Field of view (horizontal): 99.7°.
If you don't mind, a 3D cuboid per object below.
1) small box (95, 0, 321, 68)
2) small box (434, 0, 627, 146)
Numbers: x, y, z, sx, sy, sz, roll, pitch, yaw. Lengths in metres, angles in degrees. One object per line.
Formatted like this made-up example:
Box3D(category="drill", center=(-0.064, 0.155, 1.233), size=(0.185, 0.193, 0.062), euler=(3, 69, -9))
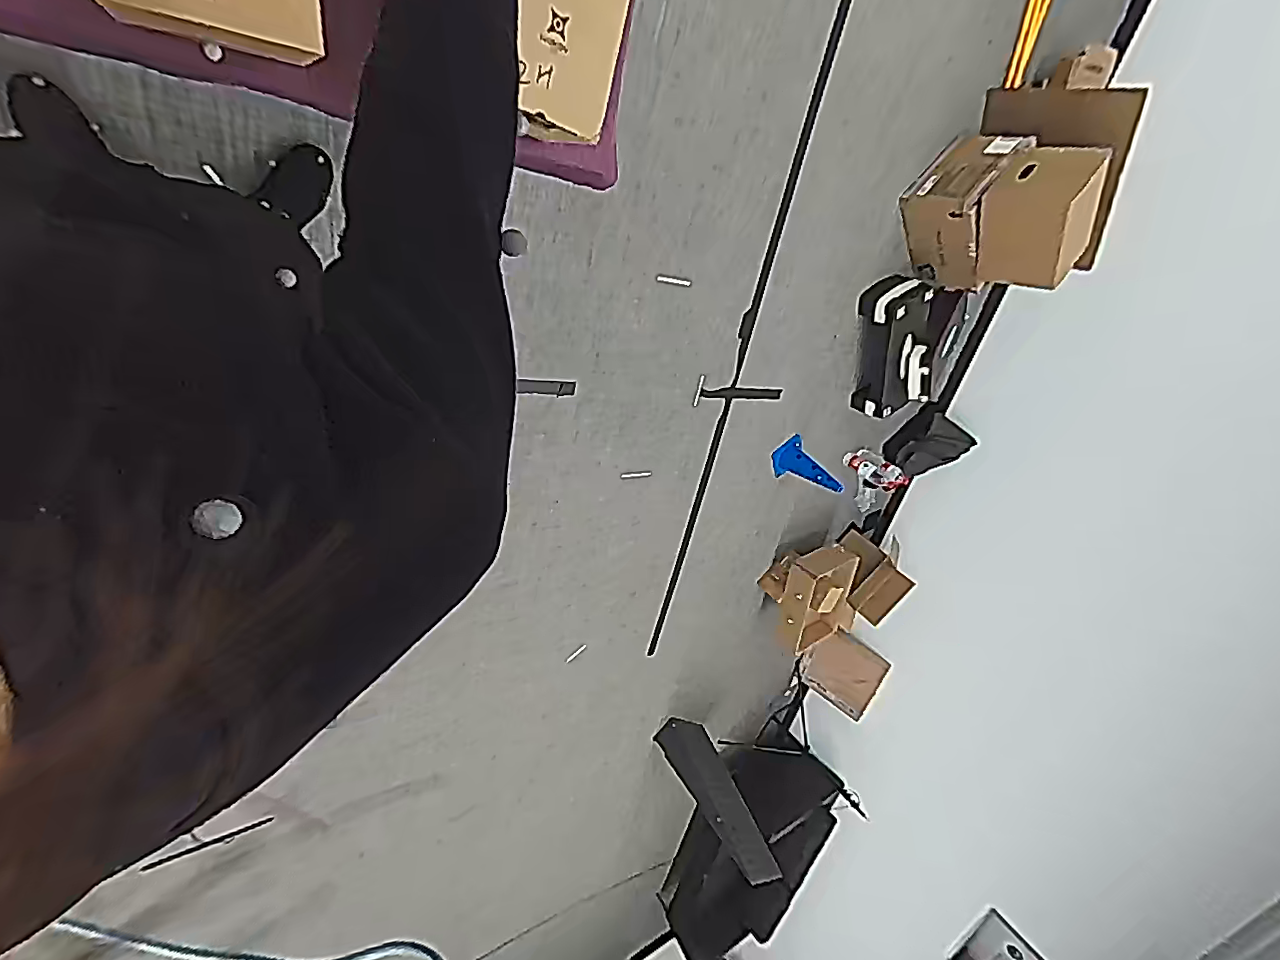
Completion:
Box3D(category="small box", center=(-0.400, -0.503, 0.488), size=(0.168, 0.176, 0.179), euler=(-9, 124, -34))
Box3D(category="small box", center=(-0.143, -0.539, 0.666), size=(0.168, 0.176, 0.179), euler=(0, 118, -37))
